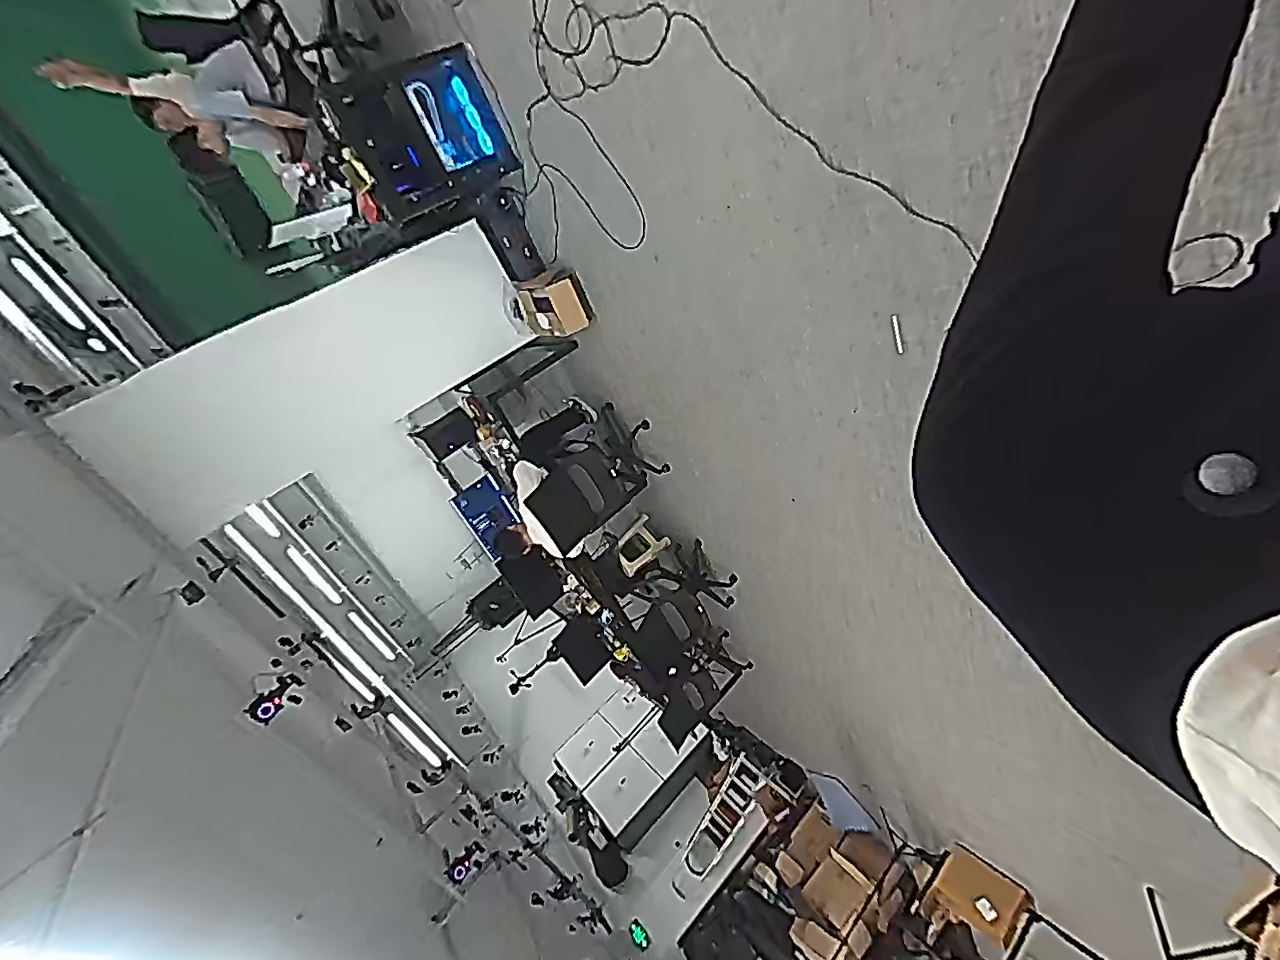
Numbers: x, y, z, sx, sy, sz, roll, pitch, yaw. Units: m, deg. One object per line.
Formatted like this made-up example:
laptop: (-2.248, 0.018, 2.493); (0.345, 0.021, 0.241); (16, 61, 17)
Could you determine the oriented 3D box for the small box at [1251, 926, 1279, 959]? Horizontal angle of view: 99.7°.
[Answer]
small box: (1.639, 1.238, 1.318); (0.179, 0.176, 0.168); (26, 149, 44)
